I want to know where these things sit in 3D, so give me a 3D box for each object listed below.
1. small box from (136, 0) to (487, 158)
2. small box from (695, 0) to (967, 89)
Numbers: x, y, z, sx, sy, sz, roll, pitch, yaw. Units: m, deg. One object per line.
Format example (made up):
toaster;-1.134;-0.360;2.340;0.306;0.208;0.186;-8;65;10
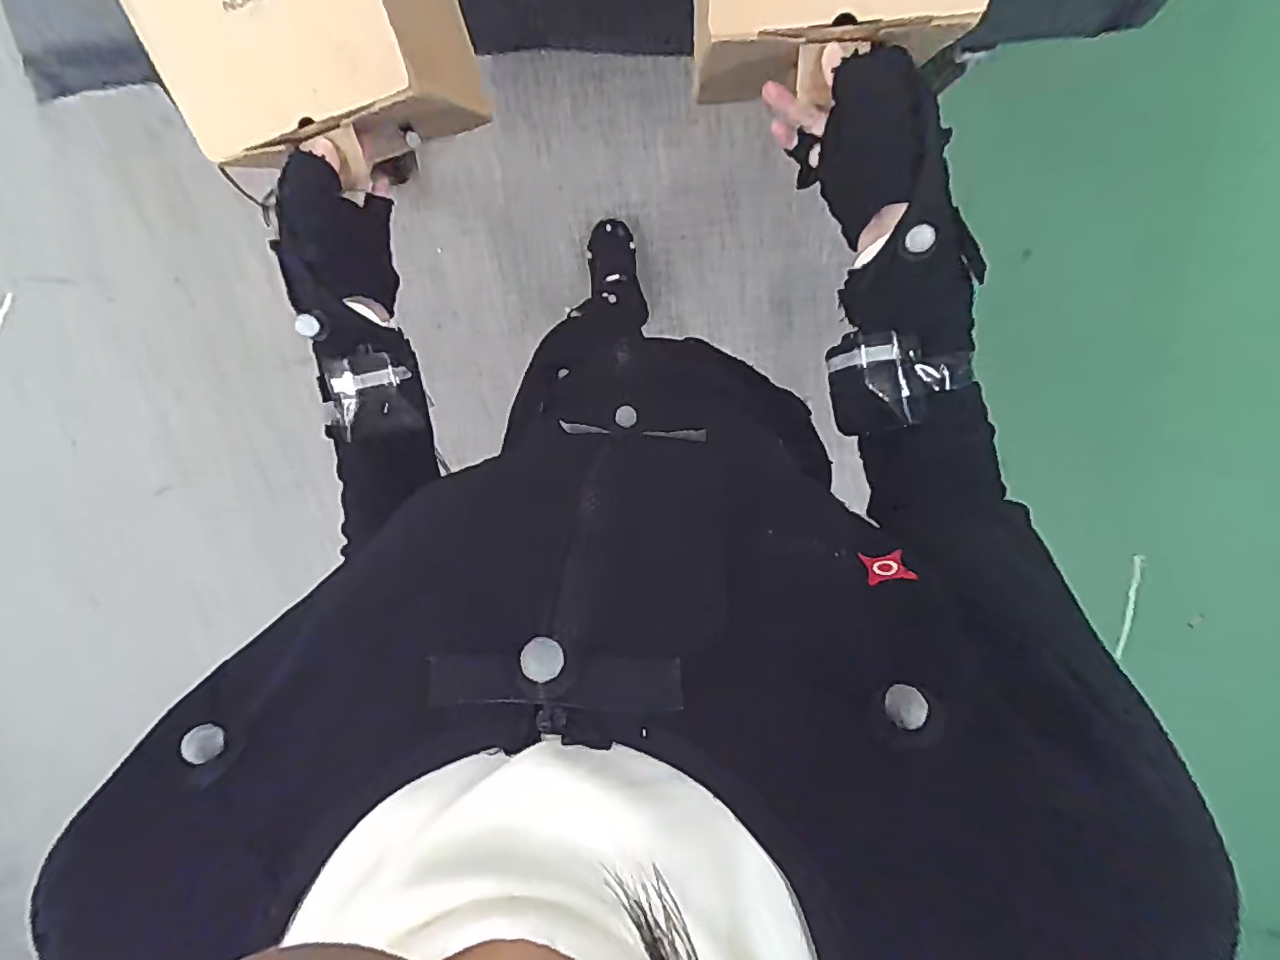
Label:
small box;-0.239;-0.361;0.407;0.168;0.176;0.179;-12;116;11
small box;0.124;-0.393;0.371;0.168;0.176;0.179;0;113;8
